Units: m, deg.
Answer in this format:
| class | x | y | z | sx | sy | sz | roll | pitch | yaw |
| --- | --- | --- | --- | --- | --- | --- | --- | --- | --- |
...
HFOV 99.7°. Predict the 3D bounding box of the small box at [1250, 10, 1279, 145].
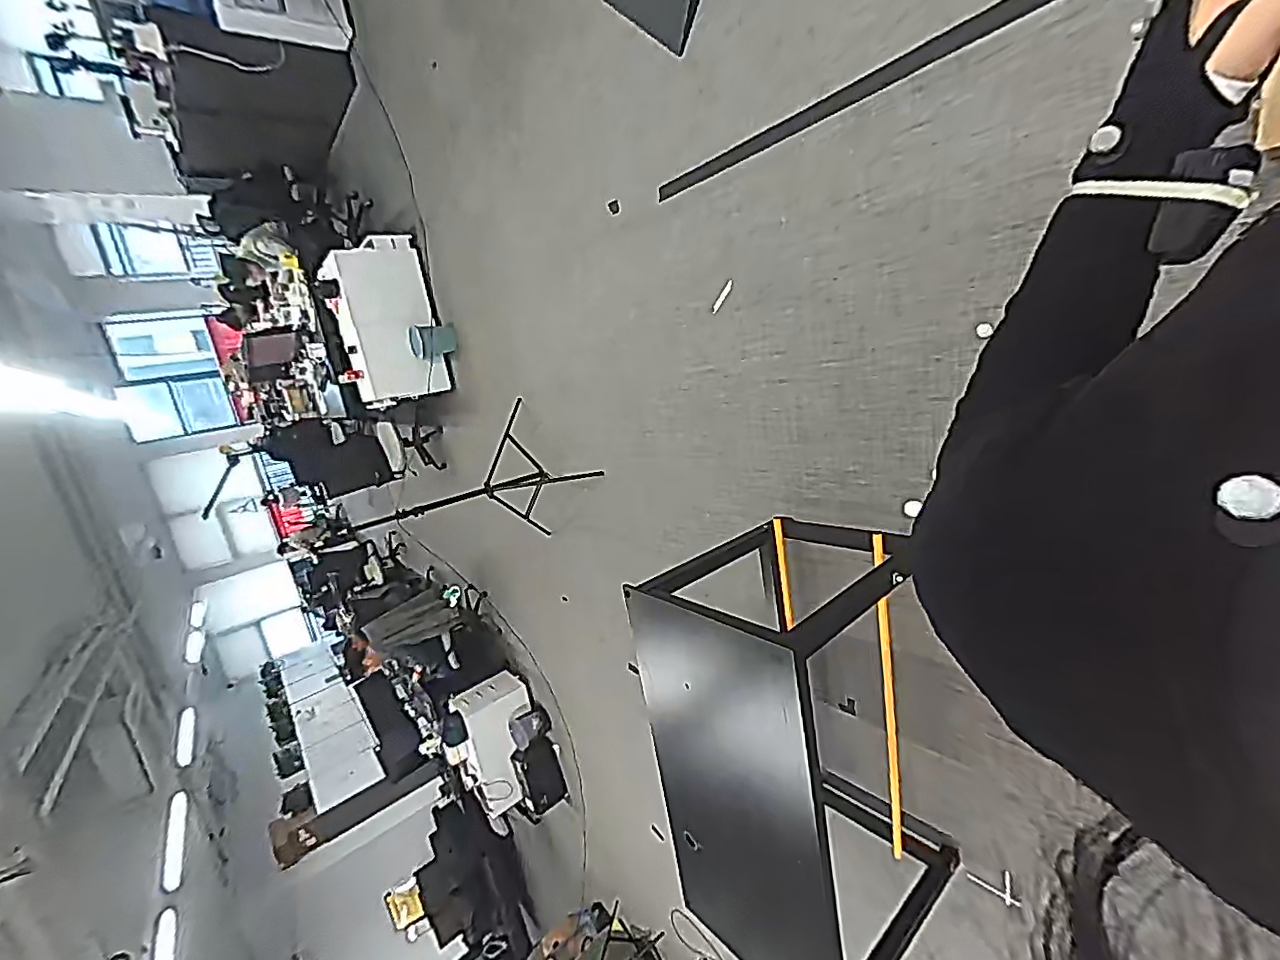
| class | x | y | z | sx | sy | sz | roll | pitch | yaw |
| --- | --- | --- | --- | --- | --- | --- | --- | --- | --- |
| small box | 1.054 | -0.620 | 0.803 | 0.168 | 0.176 | 0.179 | 11 | 116 | 51 |
